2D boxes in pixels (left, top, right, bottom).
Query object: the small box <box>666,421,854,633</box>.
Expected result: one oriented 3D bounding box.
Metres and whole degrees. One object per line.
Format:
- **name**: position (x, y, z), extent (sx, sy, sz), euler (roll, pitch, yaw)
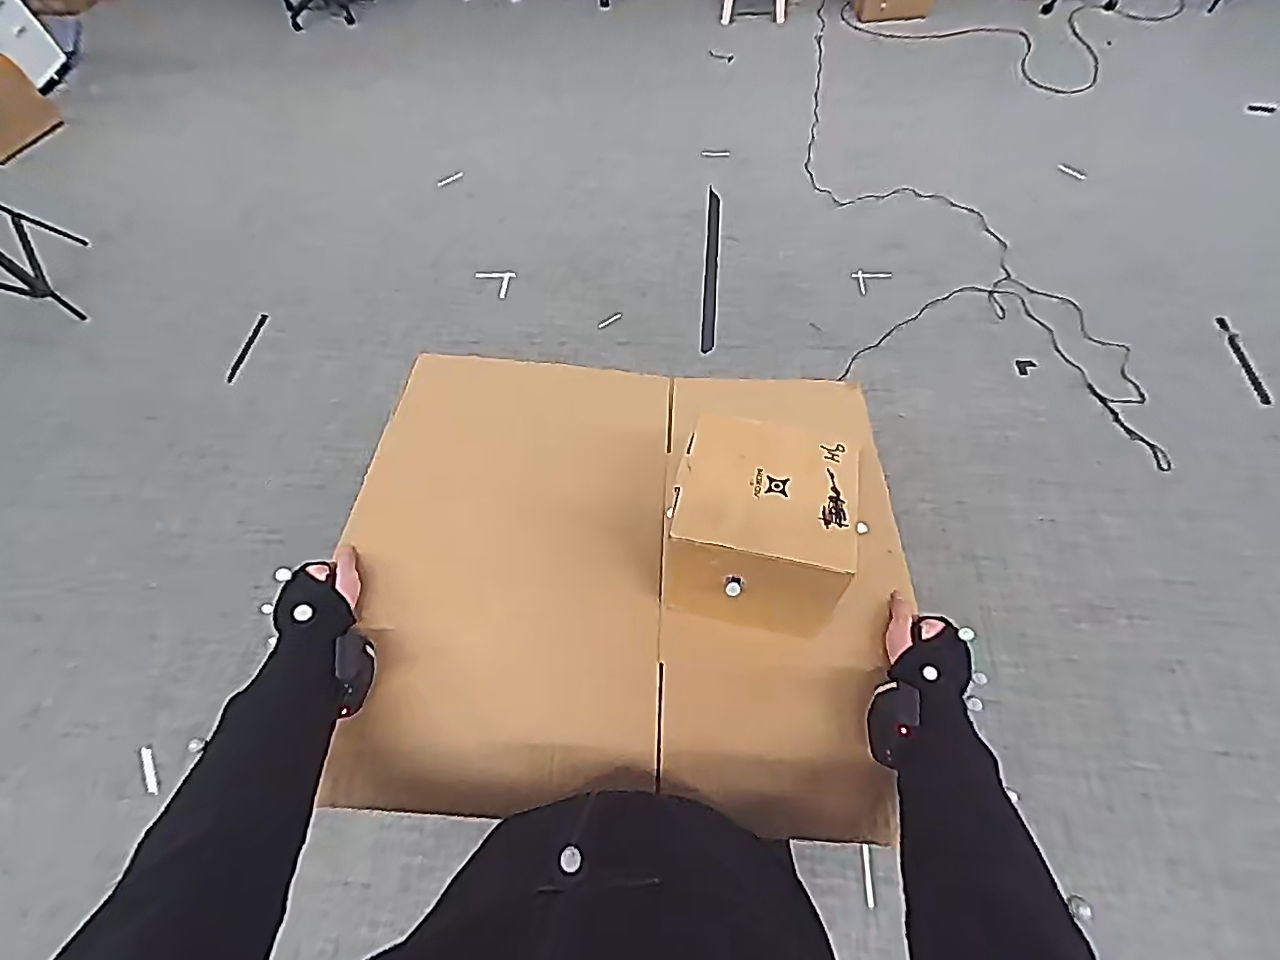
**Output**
- **small box**: position (0.133, 0.058, 0.617), extent (0.179, 0.176, 0.168), euler (9, 55, 10)
